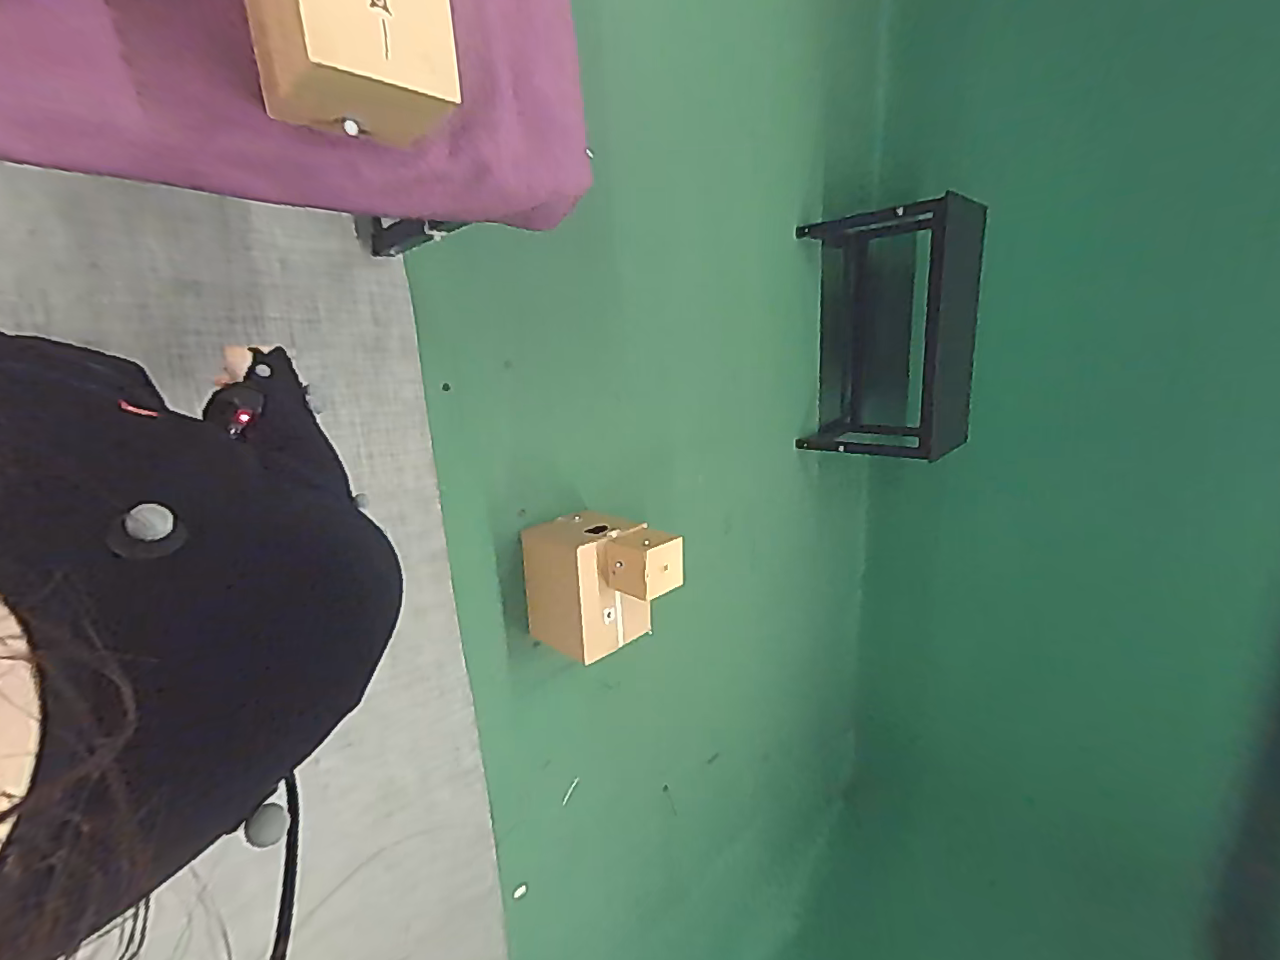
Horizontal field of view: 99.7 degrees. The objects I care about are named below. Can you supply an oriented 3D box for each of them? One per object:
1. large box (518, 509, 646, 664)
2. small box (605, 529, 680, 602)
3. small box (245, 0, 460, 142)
[{"bbox_3d":[-0.198,0.347,1.875,0.320,0.320,0.408,-15,108,-44],"label":"large box"},{"bbox_3d":[0.009,0.264,1.721,0.179,0.176,0.168,-15,108,-45],"label":"small box"},{"bbox_3d":[-0.329,-0.518,0.611,0.168,0.176,0.179,-16,109,-43],"label":"small box"}]
